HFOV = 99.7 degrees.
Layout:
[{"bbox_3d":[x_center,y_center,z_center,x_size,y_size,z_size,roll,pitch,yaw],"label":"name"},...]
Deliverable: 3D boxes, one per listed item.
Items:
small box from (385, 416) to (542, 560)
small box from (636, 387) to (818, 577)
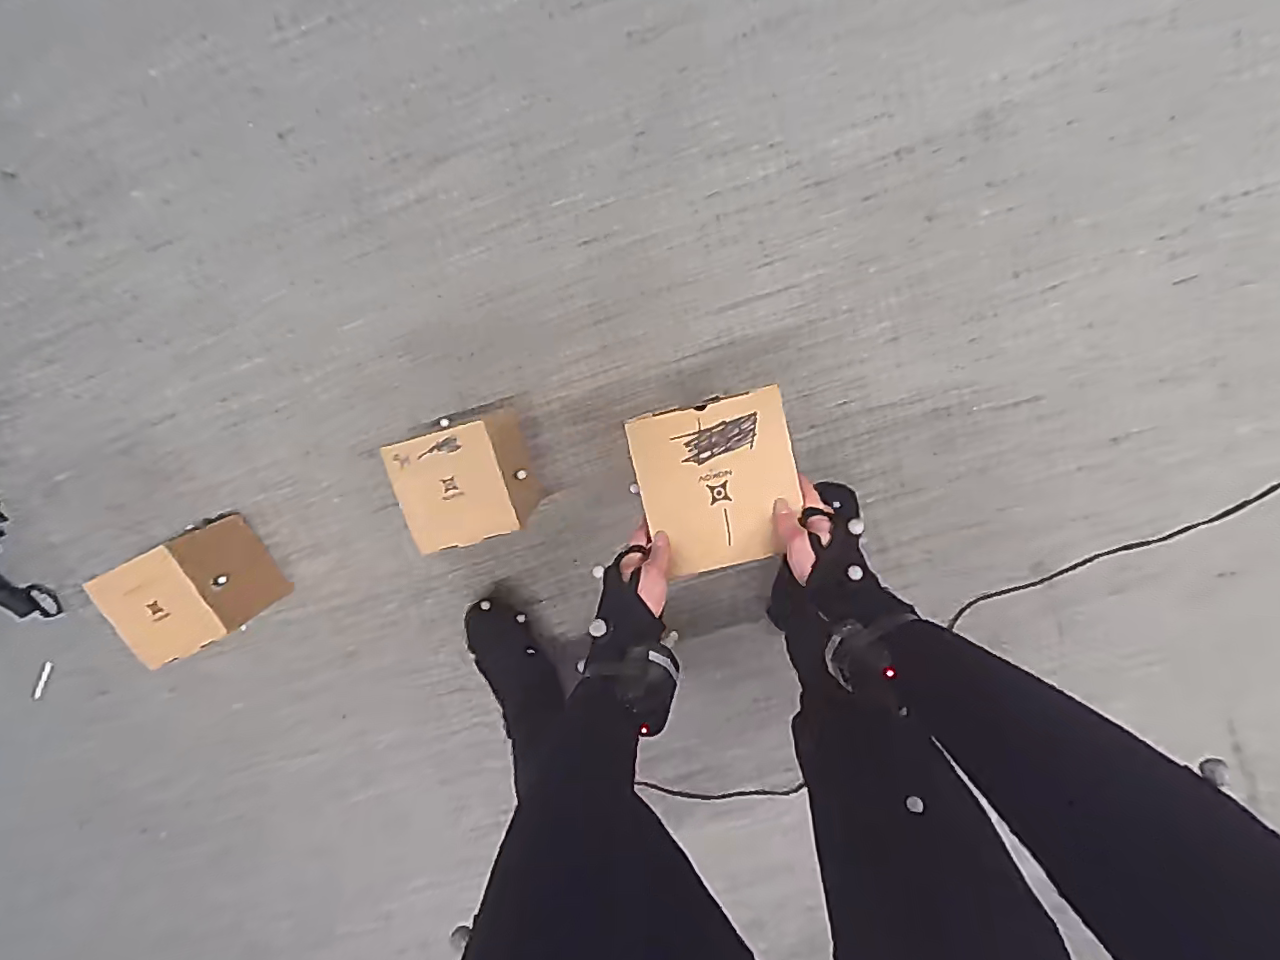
[{"bbox_3d":[-0.273,0.006,0.884,0.168,0.176,0.179,-14,103,6],"label":"small box"},{"bbox_3d":[0.094,-0.001,0.652,0.168,0.176,0.179,-14,94,4],"label":"small box"}]
